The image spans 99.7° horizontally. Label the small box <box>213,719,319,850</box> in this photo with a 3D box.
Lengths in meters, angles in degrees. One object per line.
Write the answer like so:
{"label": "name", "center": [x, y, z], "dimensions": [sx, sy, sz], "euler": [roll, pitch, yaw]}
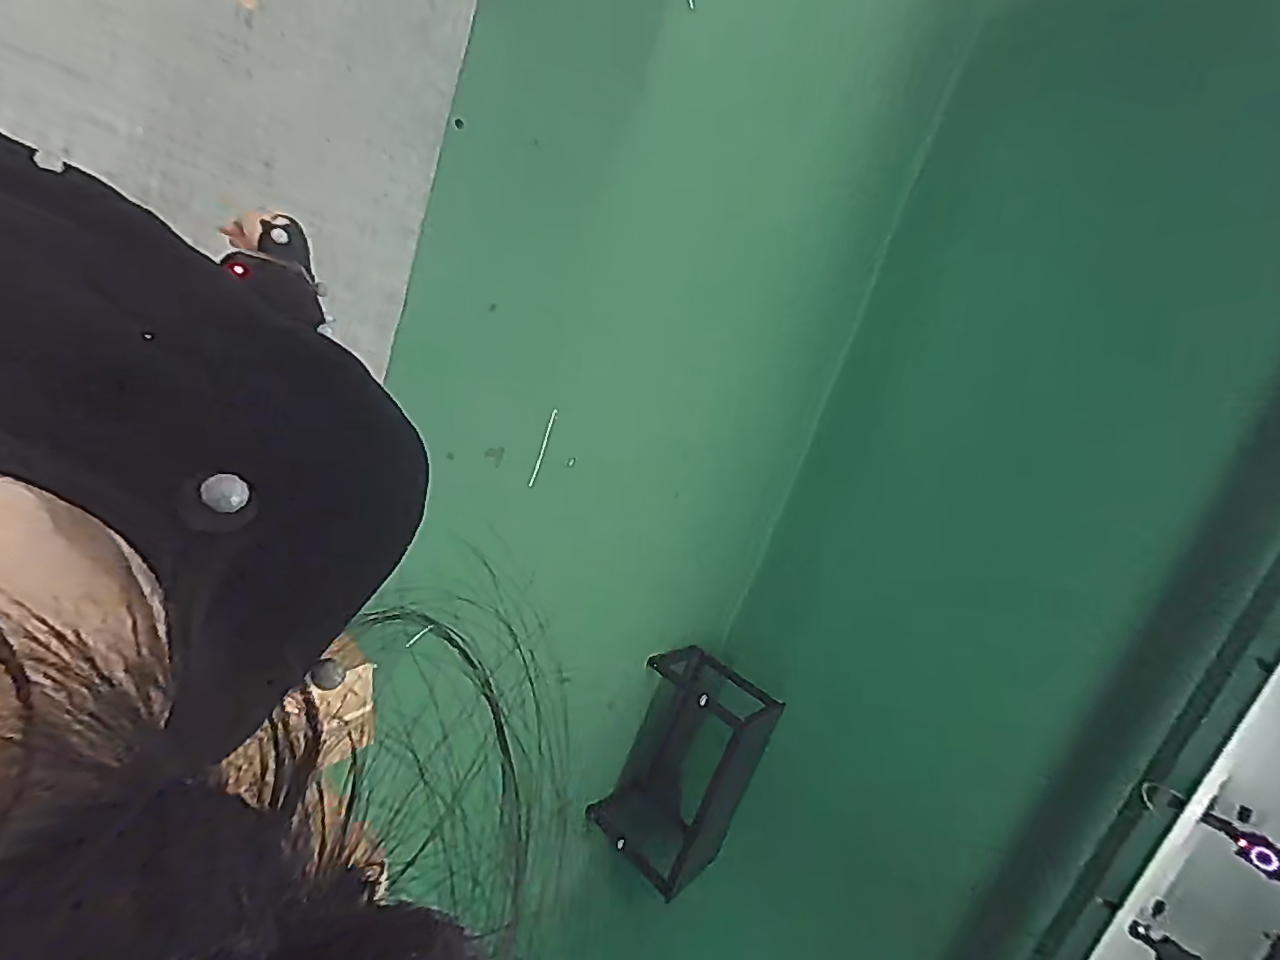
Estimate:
{"label": "small box", "center": [-0.890, 0.710, 1.281], "dimensions": [0.179, 0.176, 0.168], "euler": [-9, 118, -49]}

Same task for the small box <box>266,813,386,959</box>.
{"label": "small box", "center": [-0.640, 0.825, 1.102], "dimensions": [0.168, 0.176, 0.179], "euler": [-13, 122, -48]}

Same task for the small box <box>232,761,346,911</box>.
{"label": "small box", "center": [-0.769, 0.768, 1.186], "dimensions": [0.179, 0.176, 0.168], "euler": [-16, 123, -48]}

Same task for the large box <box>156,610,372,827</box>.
{"label": "large box", "center": [-1.016, 0.622, 1.490], "dimensions": [0.408, 0.320, 0.320], "euler": [-16, 124, -48]}
